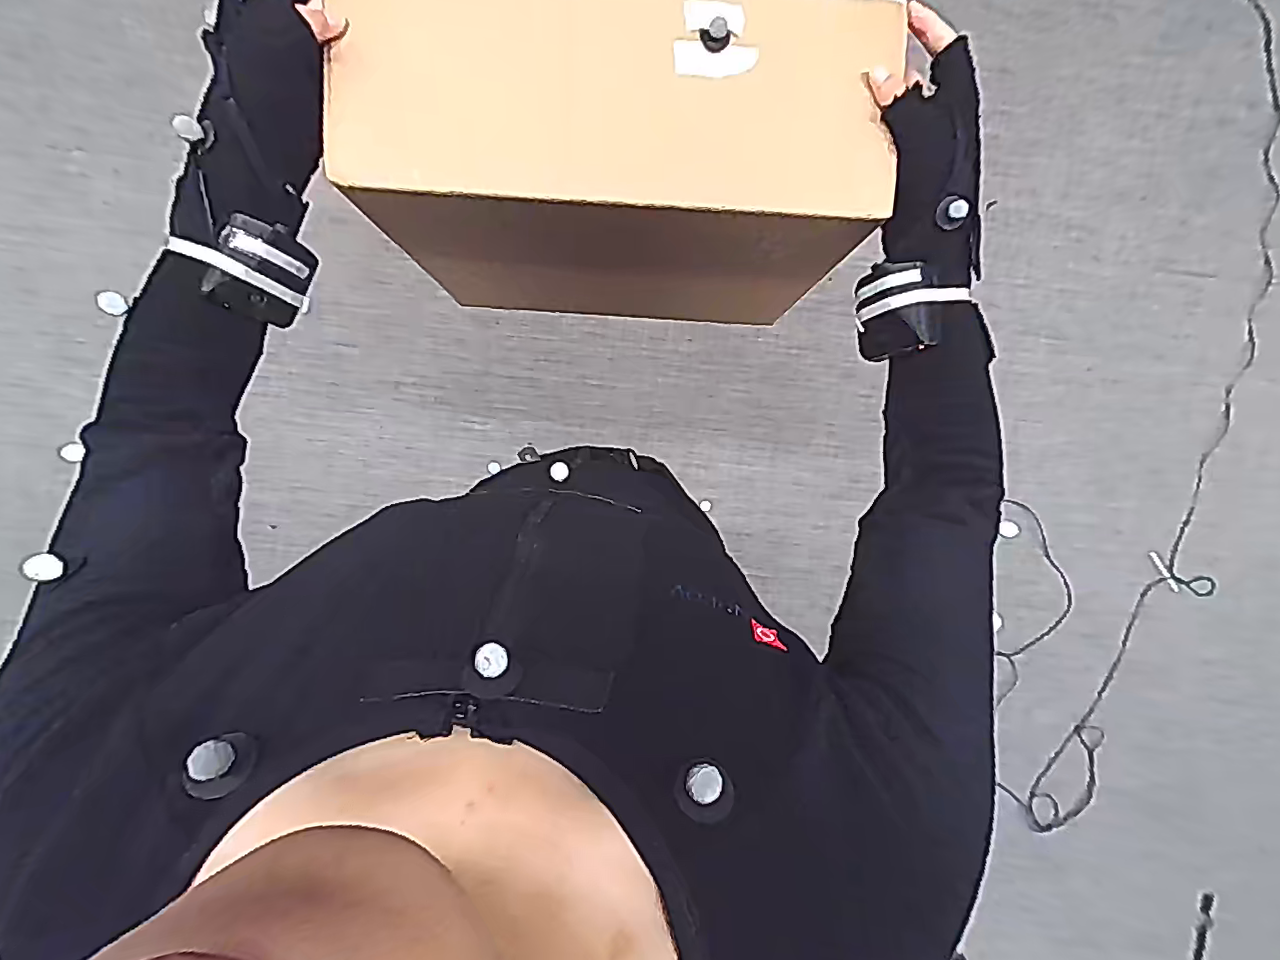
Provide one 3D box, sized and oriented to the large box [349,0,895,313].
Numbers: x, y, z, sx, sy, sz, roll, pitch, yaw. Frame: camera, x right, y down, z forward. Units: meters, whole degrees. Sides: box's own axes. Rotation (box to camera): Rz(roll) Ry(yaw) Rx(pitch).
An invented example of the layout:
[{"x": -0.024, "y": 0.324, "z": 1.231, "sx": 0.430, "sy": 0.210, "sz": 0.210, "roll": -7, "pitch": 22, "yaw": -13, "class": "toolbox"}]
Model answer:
[{"x": -0.015, "y": -0.368, "z": 0.542, "sx": 0.408, "sy": 0.320, "sz": 0.320, "roll": 3, "pitch": 92, "yaw": -3, "class": "large box"}]
